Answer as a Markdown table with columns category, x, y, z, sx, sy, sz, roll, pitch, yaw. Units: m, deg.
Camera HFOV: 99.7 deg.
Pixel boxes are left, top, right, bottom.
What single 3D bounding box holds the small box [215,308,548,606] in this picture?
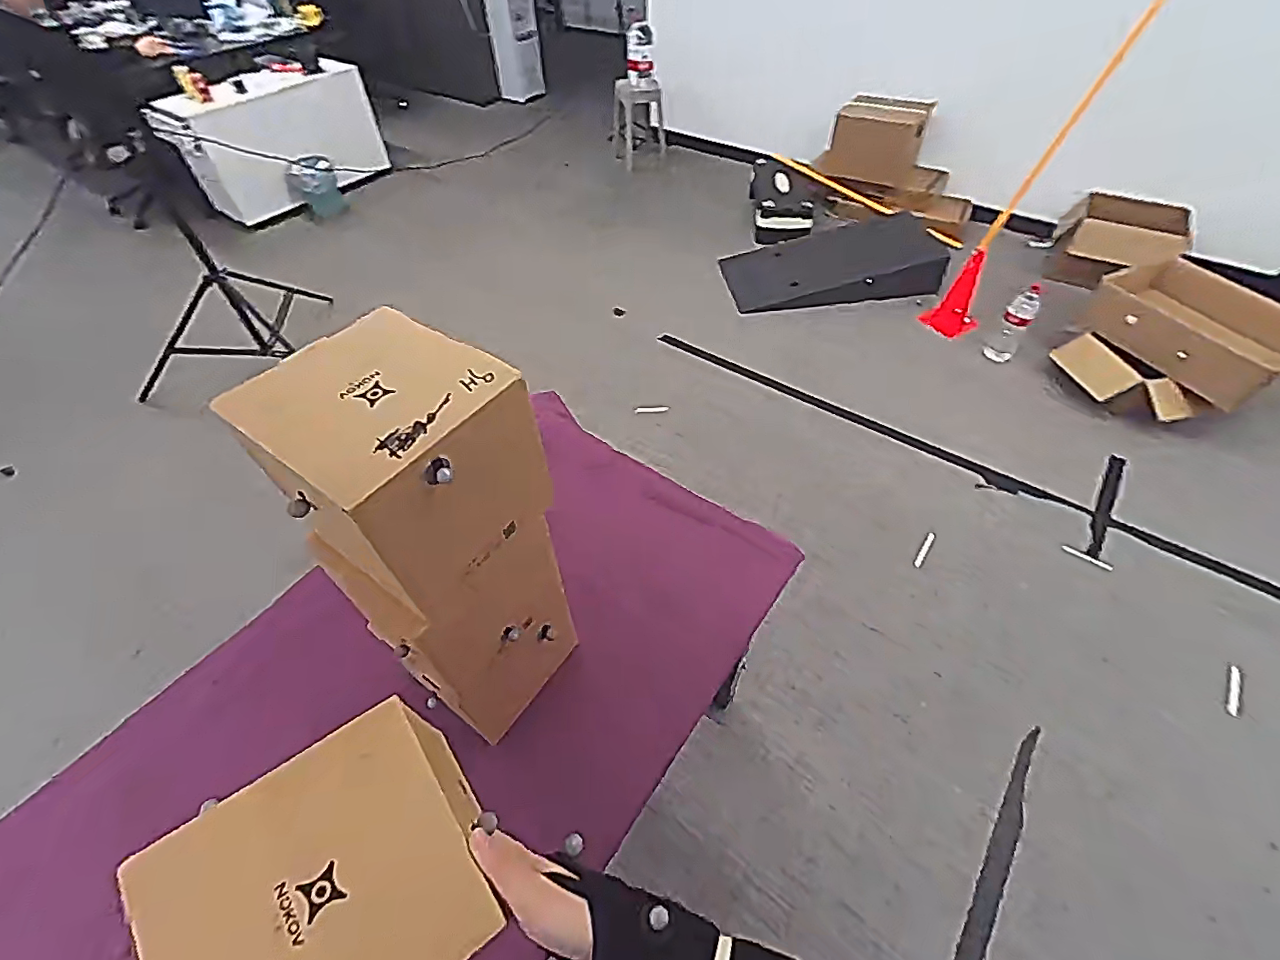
| category | x | y | z | sx | sy | sz | roll | pitch | yaw |
| --- | --- | --- | --- | --- | --- | --- | --- | --- | --- |
| small box | -0.206 | -0.019 | 0.479 | 0.179 | 0.176 | 0.168 | 27 | 57 | 23 |

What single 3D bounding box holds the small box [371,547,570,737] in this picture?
| category | x | y | z | sx | sy | sz | roll | pitch | yaw |
| --- | --- | --- | --- | --- | --- | --- | --- | --- | --- |
| small box | -0.208 | 0.203 | 0.721 | 0.168 | 0.176 | 0.179 | 27 | 57 | 23 |

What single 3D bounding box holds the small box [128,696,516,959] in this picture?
| category | x | y | z | sx | sy | sz | roll | pitch | yaw |
| --- | --- | --- | --- | --- | --- | --- | --- | --- | --- |
| small box | -0.204 | 0.293 | 0.398 | 0.179 | 0.176 | 0.168 | -30 | 66 | -22 |
